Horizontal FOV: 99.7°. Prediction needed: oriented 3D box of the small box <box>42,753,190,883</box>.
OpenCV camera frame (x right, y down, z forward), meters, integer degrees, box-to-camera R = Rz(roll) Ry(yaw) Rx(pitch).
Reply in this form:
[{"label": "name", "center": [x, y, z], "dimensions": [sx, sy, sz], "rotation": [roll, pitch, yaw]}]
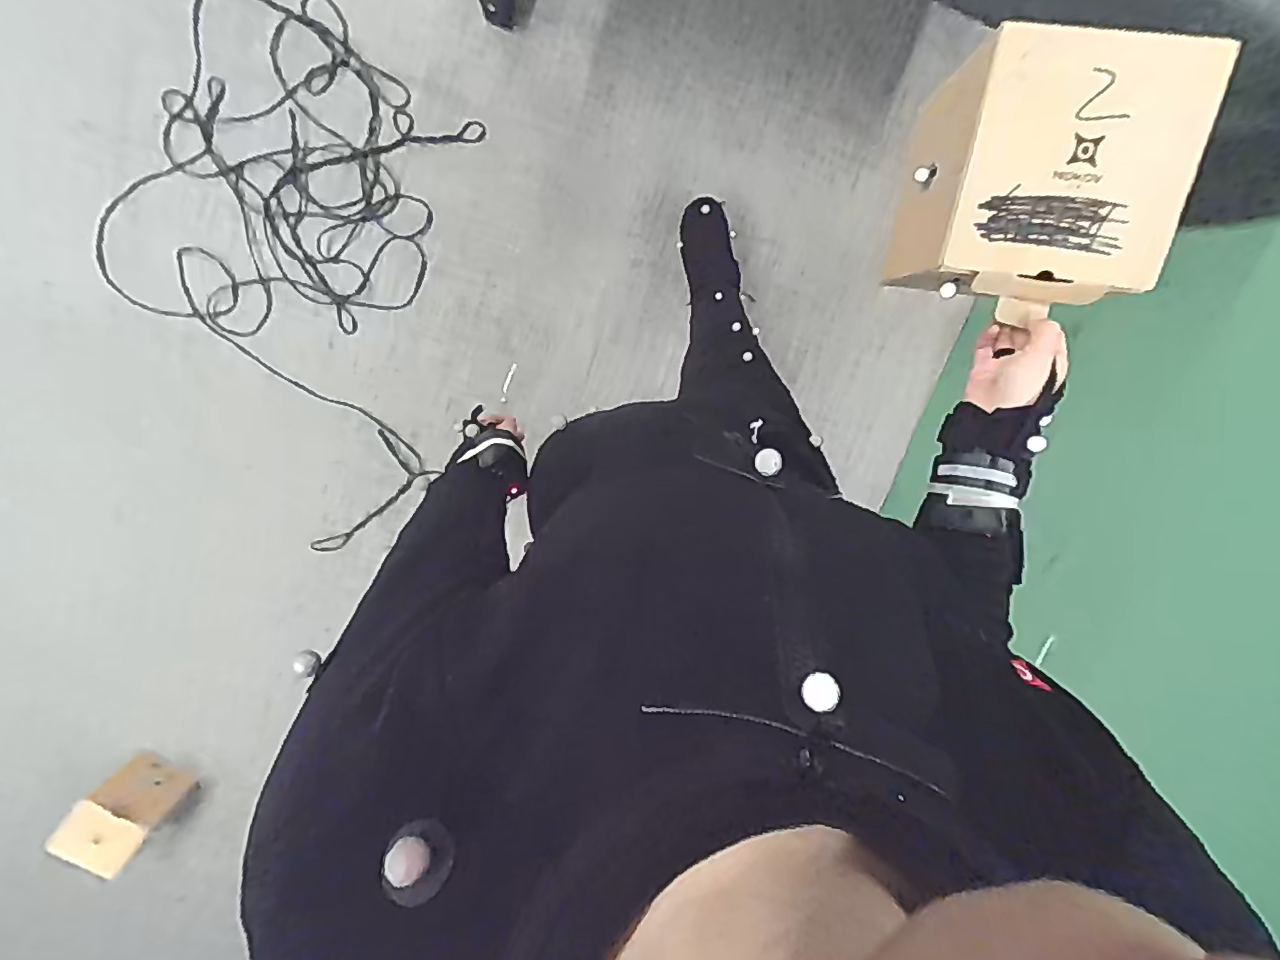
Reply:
[{"label": "small box", "center": [-1.274, 0.824, 1.330], "dimensions": [0.168, 0.176, 0.179], "rotation": [38, 97, -11]}]
